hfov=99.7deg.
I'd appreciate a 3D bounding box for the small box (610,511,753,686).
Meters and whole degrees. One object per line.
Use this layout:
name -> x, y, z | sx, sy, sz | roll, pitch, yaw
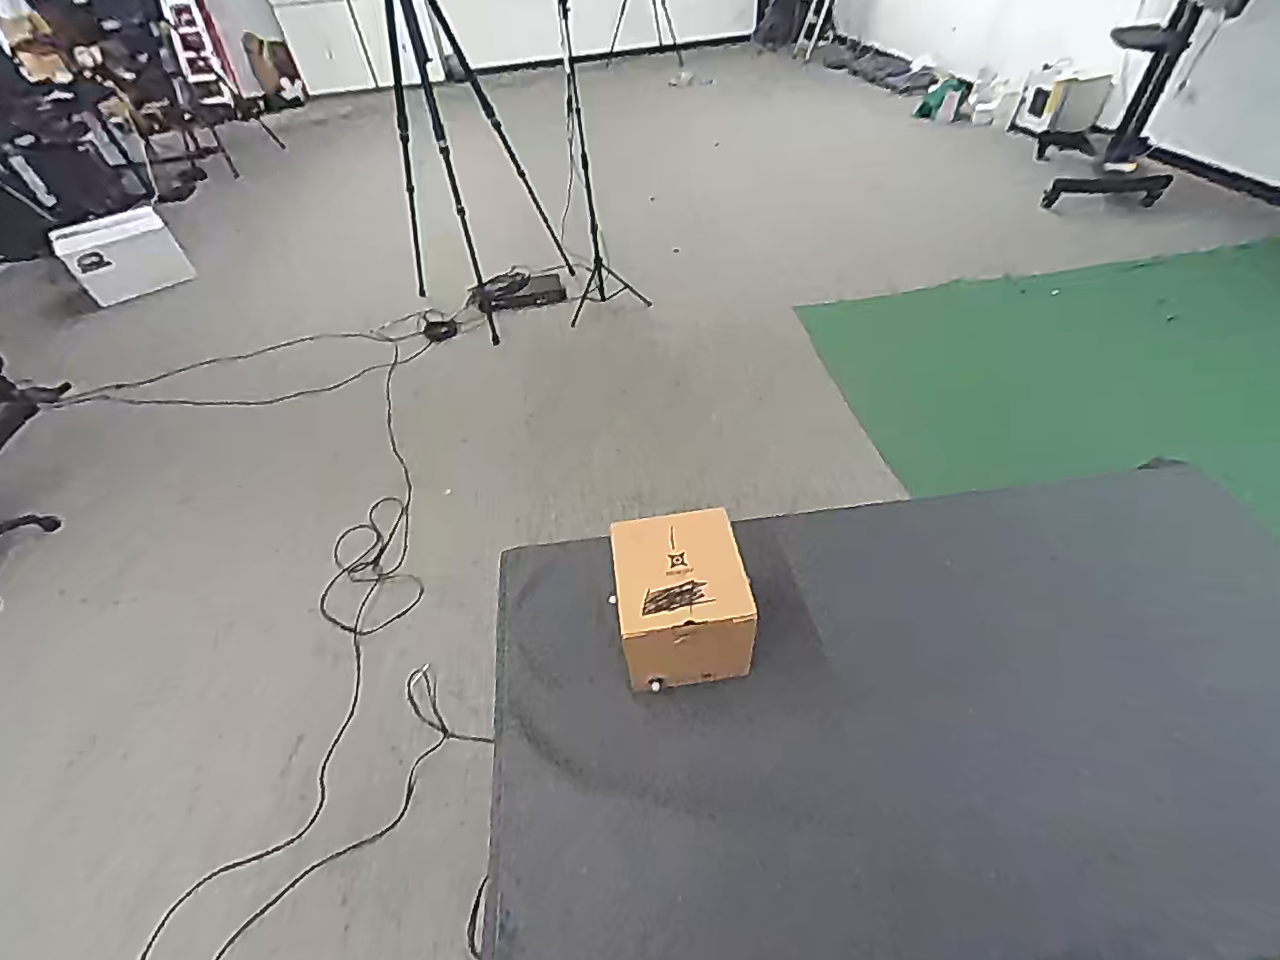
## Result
small box -> 0.053, 0.171, 0.756 | 0.168, 0.176, 0.179 | -8, 46, -2
